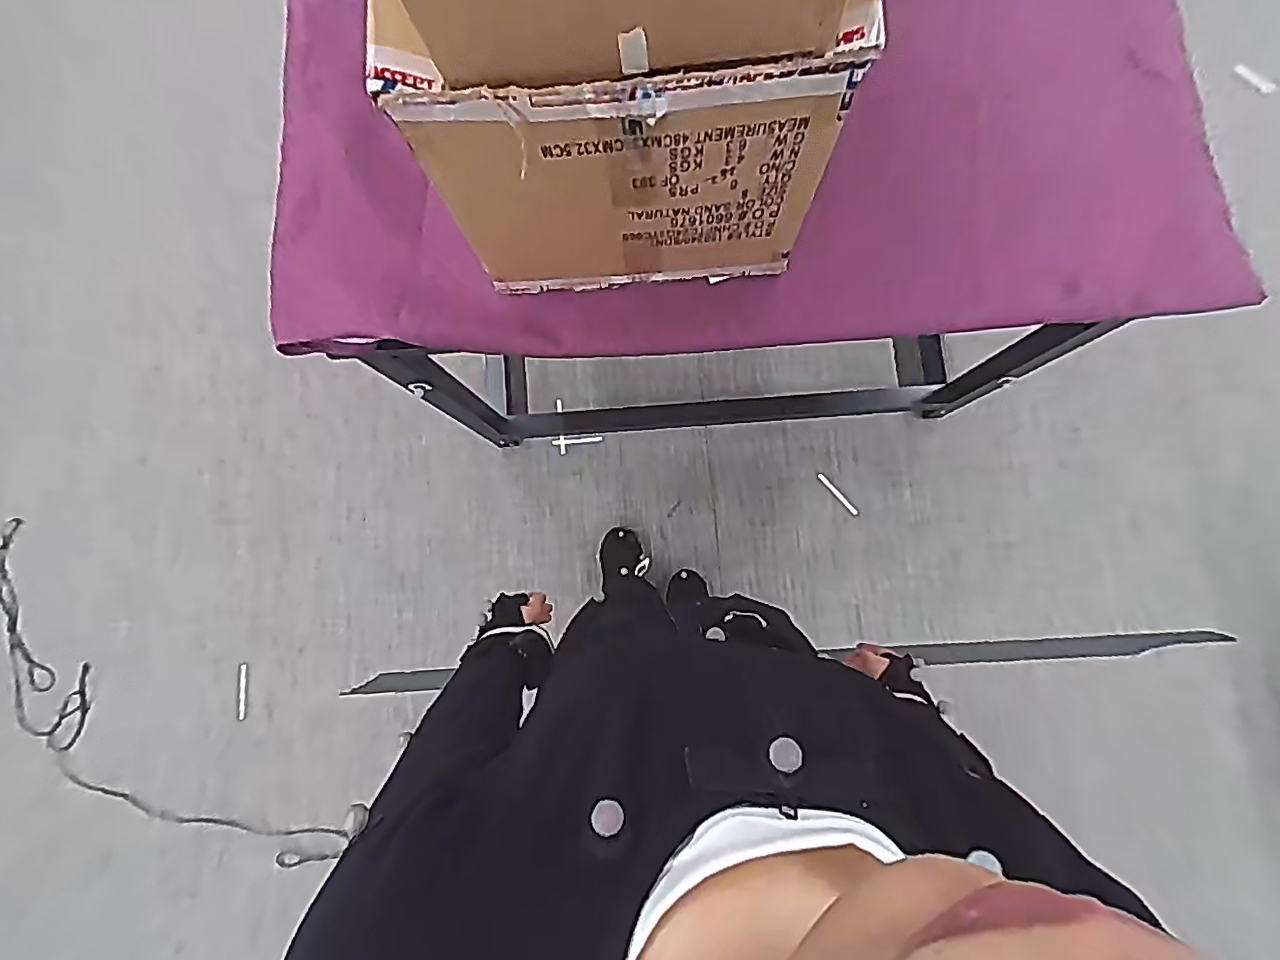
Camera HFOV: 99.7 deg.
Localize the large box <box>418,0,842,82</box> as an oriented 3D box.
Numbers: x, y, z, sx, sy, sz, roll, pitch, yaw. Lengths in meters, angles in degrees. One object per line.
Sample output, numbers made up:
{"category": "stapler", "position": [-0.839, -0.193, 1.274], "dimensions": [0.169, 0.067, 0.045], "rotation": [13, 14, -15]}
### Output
{"category": "large box", "position": [-0.025, -0.545, 0.305], "dimensions": [0.320, 0.320, 0.408], "rotation": [-3, 83, 7]}
